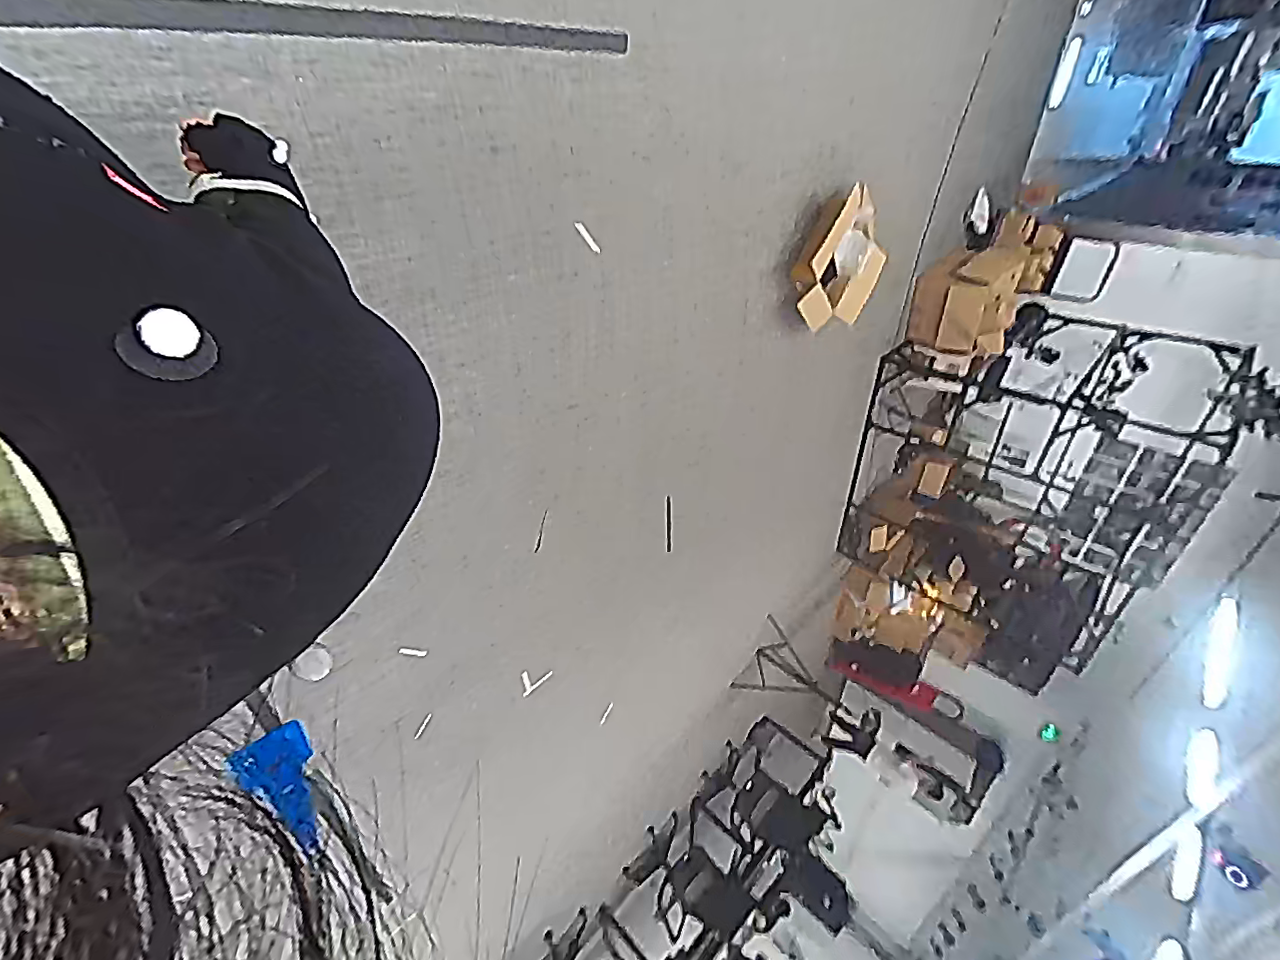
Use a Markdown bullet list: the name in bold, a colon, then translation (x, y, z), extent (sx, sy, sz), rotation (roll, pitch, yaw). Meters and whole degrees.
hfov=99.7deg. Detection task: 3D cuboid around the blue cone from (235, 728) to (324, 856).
- **blue cone**: translation (-1.020, 0.953, 1.601), extent (0.193, 0.380, 0.192), rotation (-28, 133, -37)
